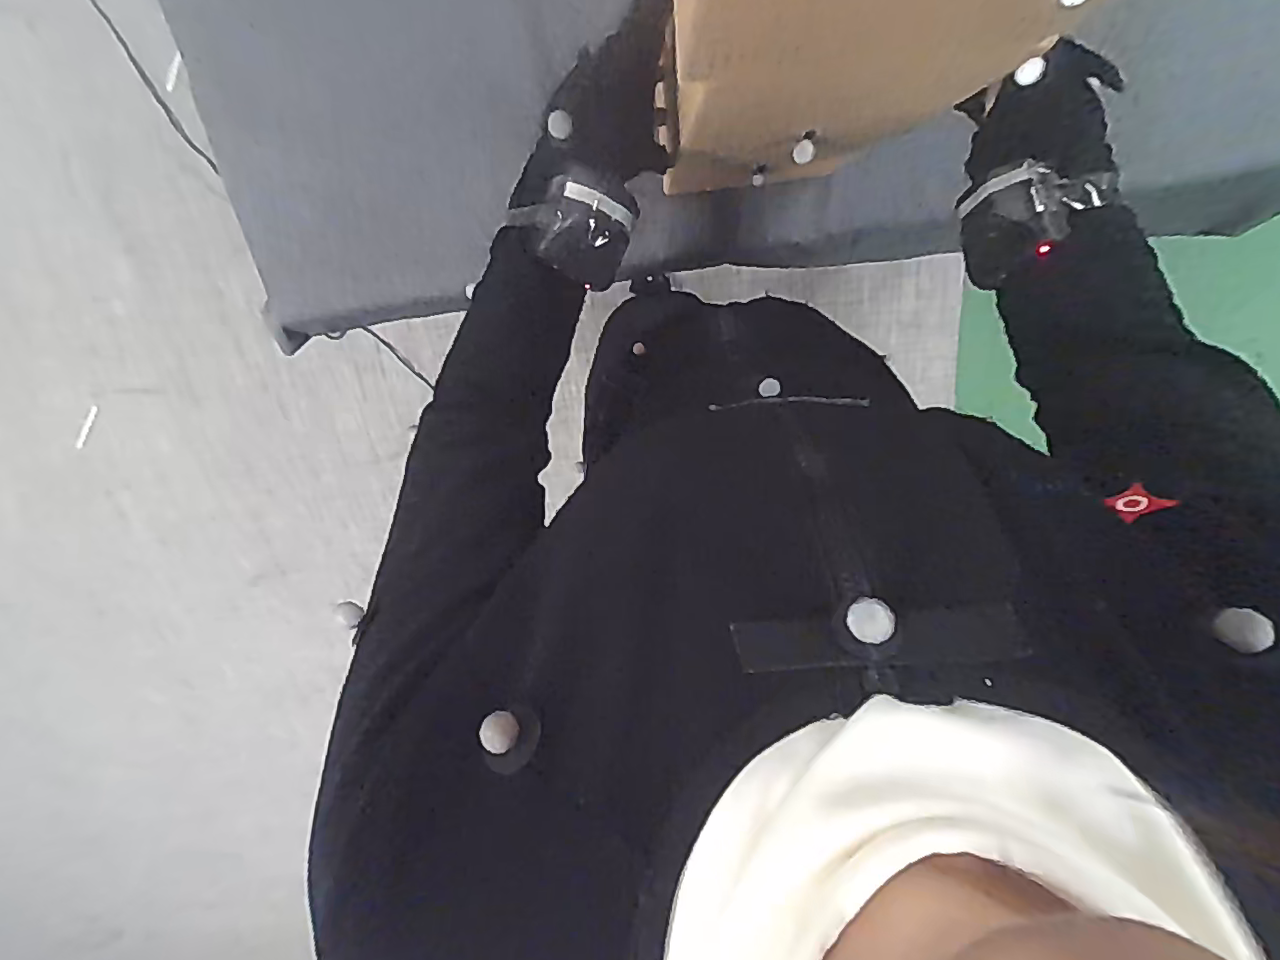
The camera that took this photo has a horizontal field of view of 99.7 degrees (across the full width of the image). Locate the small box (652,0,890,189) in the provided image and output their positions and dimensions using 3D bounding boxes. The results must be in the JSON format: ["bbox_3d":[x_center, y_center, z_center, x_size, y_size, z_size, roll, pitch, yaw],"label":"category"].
[{"bbox_3d":[0.105,-0.365,0.472,0.179,0.176,0.168,-4,107,0],"label":"small box"}]

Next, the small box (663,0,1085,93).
[{"bbox_3d":[0.094,-0.252,0.168,0.179,0.176,0.168,-5,108,3],"label":"small box"}]

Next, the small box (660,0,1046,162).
[{"bbox_3d":[0.106,-0.306,0.321,0.179,0.176,0.168,-6,107,1],"label":"small box"}]
